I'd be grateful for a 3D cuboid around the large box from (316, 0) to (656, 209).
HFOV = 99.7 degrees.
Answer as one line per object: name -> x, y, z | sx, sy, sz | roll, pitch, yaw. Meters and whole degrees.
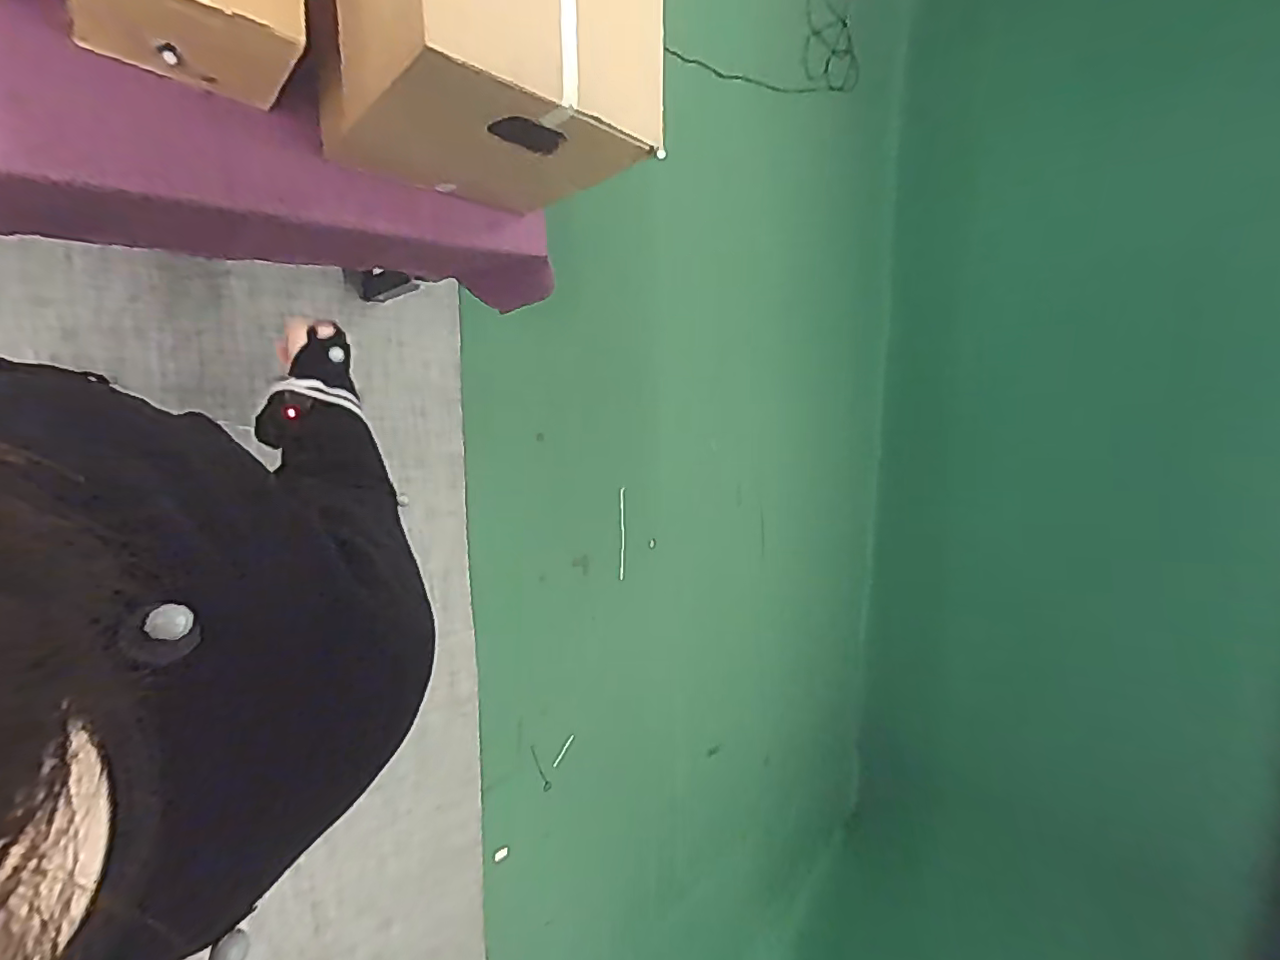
large box -> -0.193, -0.619, 0.675 | 0.320, 0.320, 0.408 | -9, 102, -44
